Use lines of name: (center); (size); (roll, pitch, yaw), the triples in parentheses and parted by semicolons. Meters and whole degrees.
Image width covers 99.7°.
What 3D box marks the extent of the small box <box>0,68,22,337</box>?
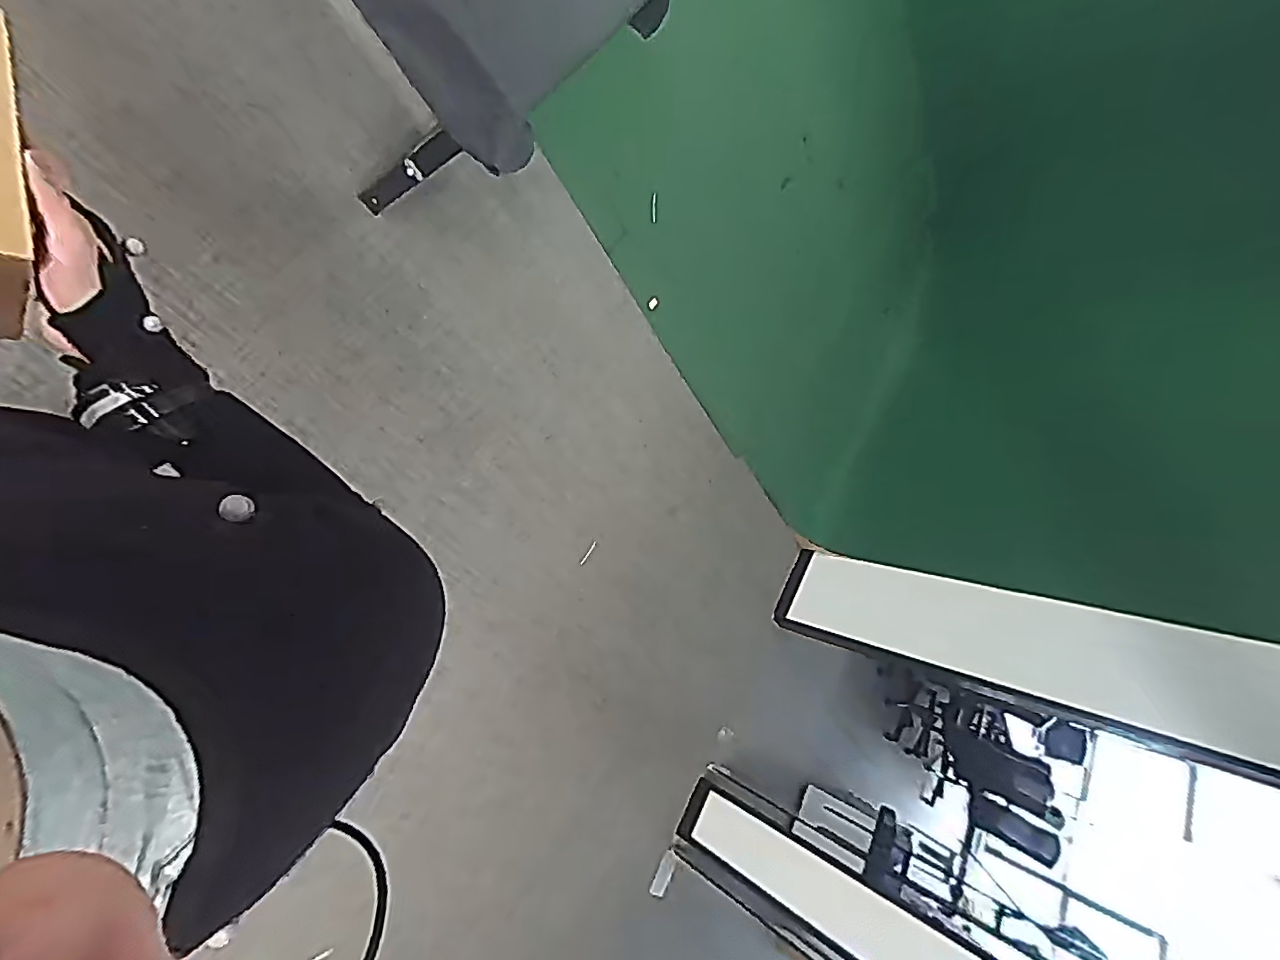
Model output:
small box: (-0.523, -0.200, 0.335); (0.168, 0.176, 0.179); (-7, 87, -52)
